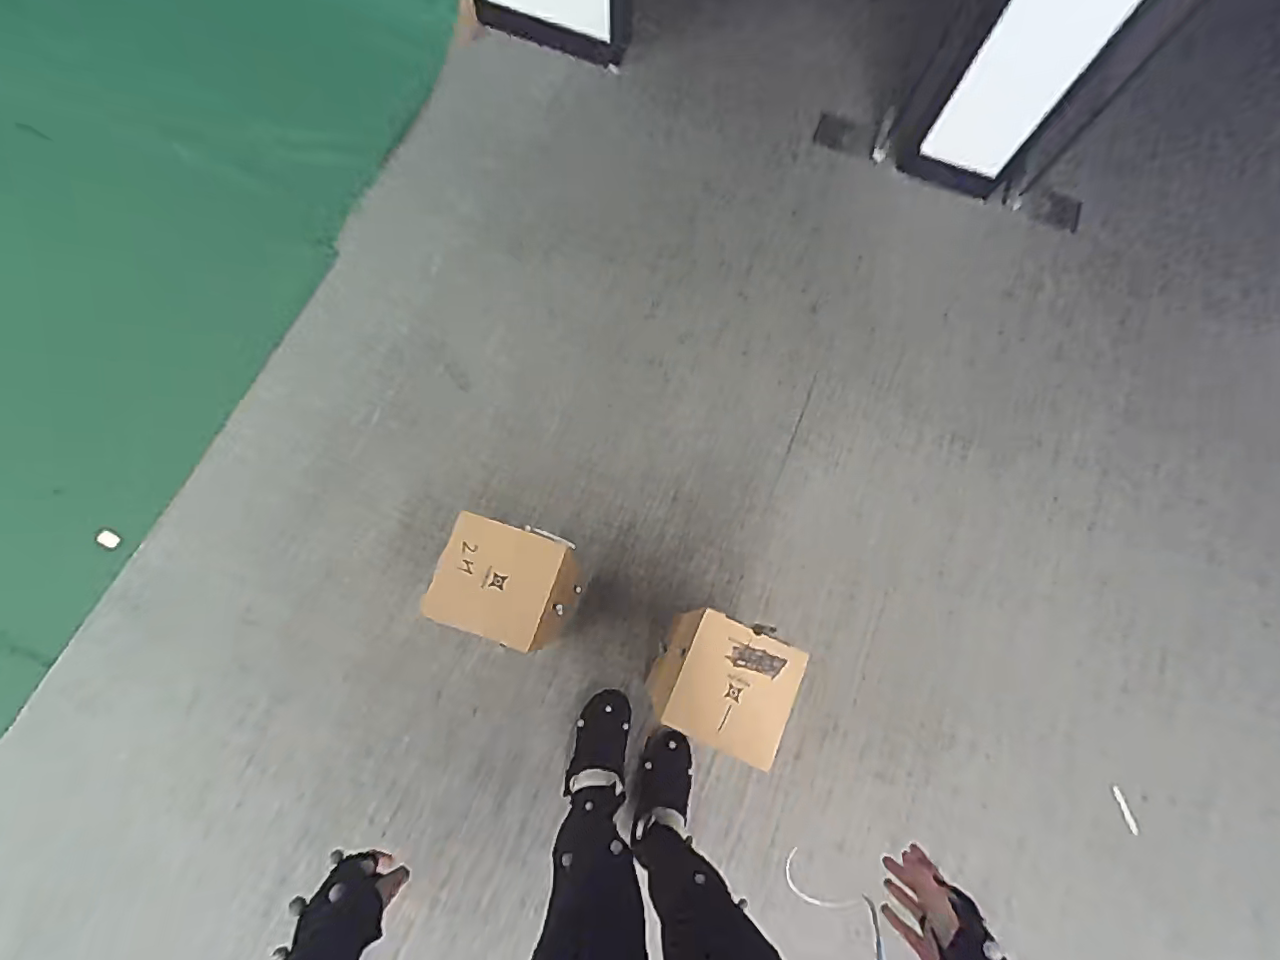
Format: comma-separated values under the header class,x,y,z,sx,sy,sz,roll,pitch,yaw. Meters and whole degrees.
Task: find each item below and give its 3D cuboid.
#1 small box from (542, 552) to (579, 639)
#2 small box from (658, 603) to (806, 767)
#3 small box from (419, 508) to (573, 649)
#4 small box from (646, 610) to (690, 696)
class,x,y,z,sx,sy,sz,roll,pitch,yaw
small box,-0.229,0.203,1.039,0.179,0.176,0.168,18,74,3
small box,0.134,0.311,0.852,0.168,0.176,0.179,24,75,5
small box,-0.217,0.163,0.879,0.179,0.176,0.168,19,73,4
small box,0.121,0.398,1.170,0.168,0.176,0.179,24,75,4
